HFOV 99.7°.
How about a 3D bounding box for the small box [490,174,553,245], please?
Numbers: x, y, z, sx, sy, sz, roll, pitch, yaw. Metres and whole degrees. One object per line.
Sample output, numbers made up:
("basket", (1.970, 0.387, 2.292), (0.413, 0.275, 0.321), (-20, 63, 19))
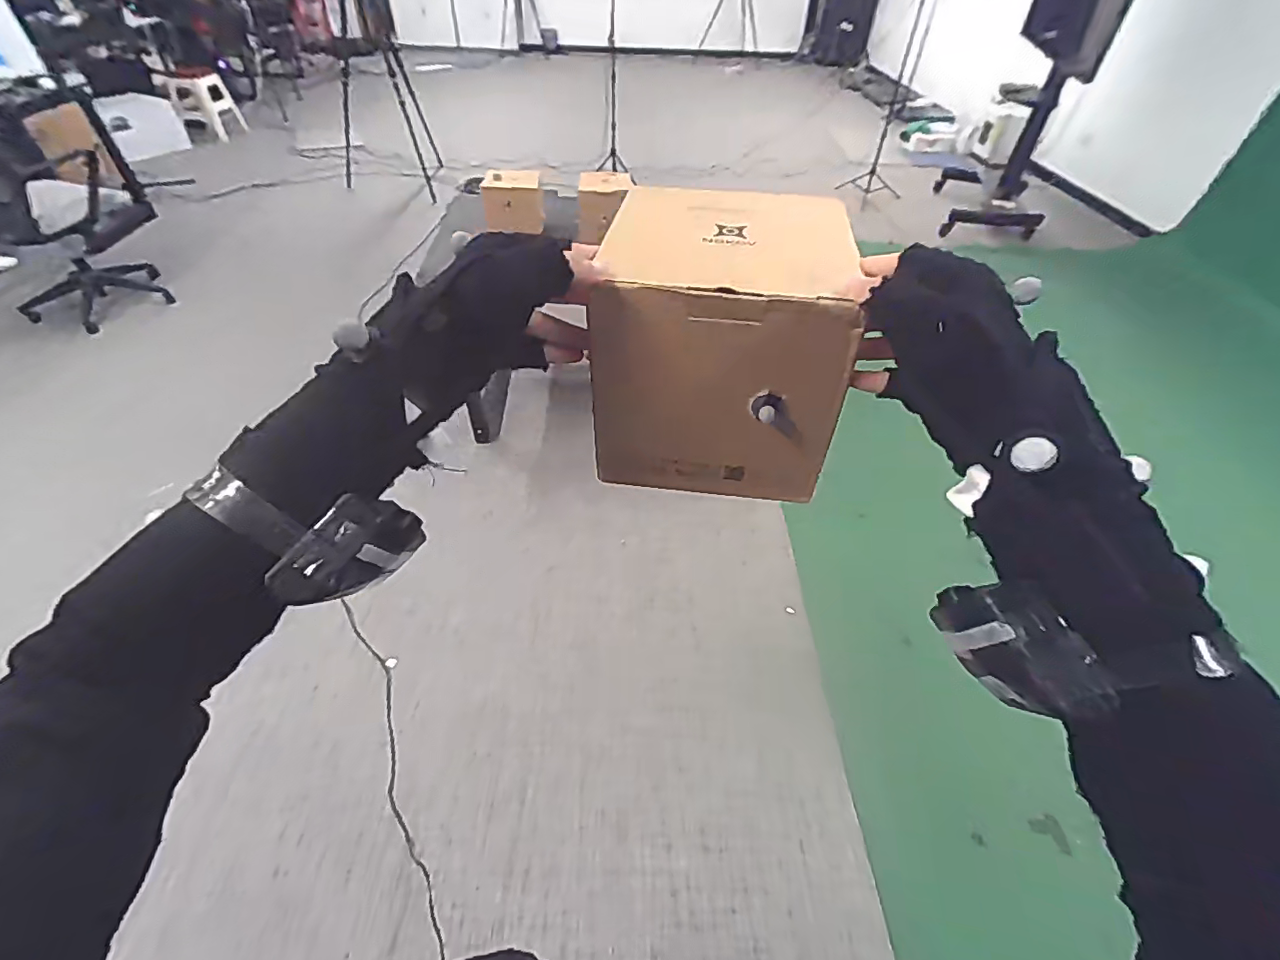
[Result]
("small box", (-0.383, -0.888, 1.775), (0.179, 0.176, 0.168), (0, 46, -4))

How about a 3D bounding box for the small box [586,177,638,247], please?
("small box", (-0.090, -0.883, 1.786), (0.168, 0.176, 0.179), (0, 46, -2))

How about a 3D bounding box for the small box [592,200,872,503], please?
("small box", (0.063, -0.101, 0.426), (0.168, 0.176, 0.179), (6, 44, 5))
